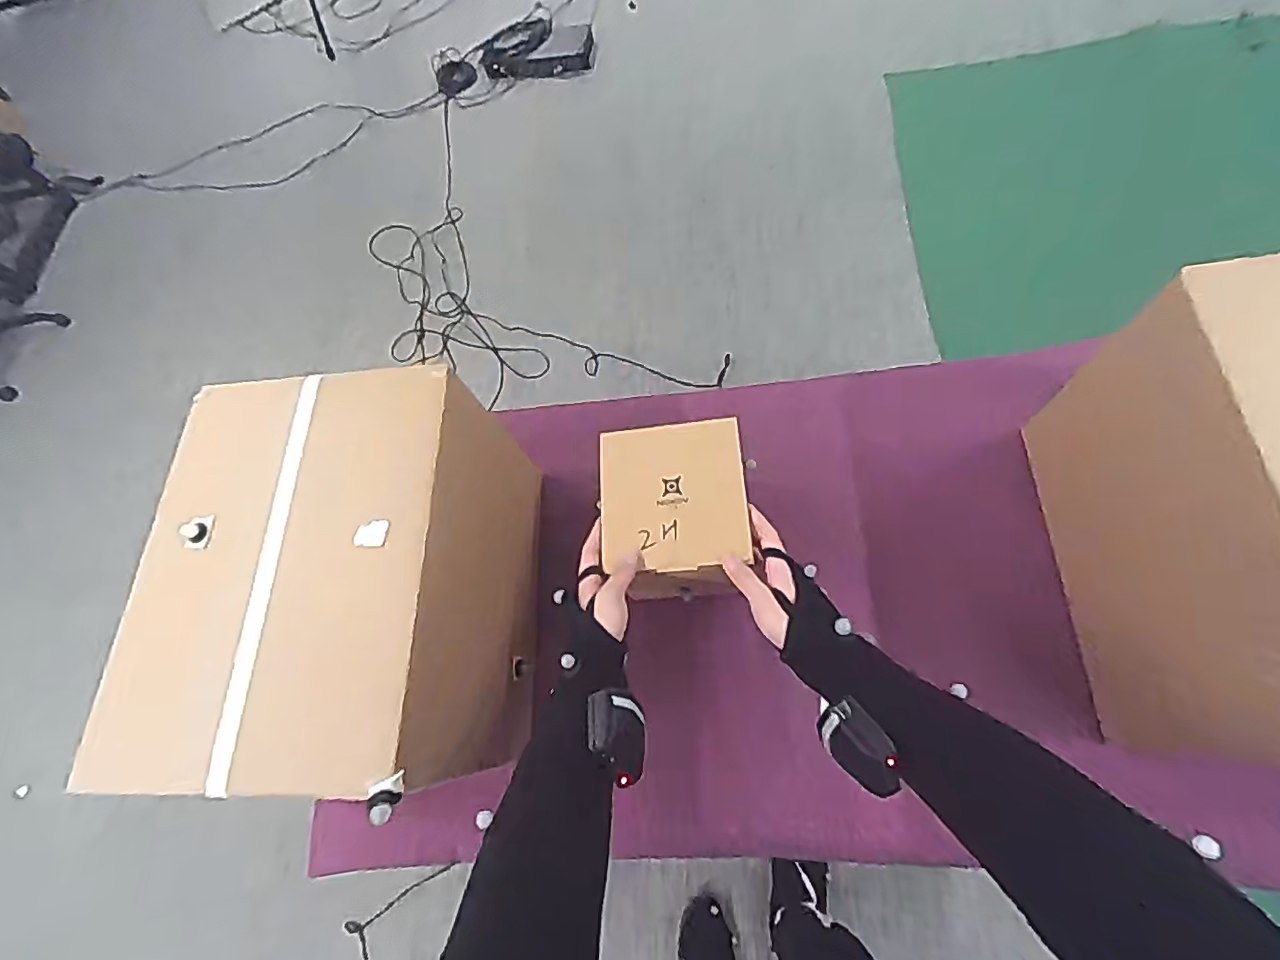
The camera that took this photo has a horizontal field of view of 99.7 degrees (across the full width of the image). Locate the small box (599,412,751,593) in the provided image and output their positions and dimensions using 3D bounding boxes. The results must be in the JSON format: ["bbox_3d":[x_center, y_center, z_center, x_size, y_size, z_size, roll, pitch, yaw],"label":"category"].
[{"bbox_3d":[0.048,0.037,0.680,0.168,0.176,0.179,-6,68,10],"label":"small box"}]
